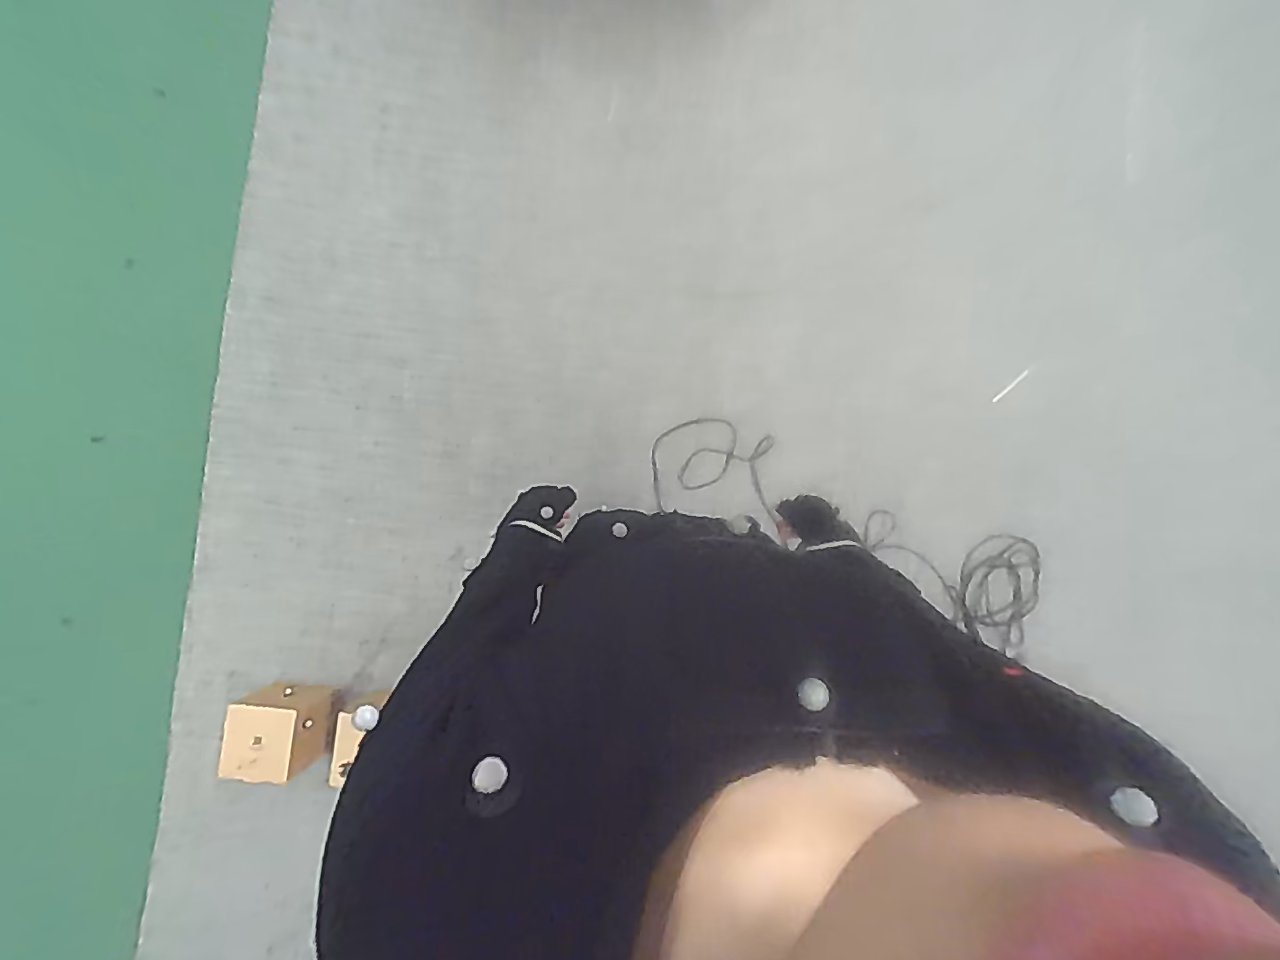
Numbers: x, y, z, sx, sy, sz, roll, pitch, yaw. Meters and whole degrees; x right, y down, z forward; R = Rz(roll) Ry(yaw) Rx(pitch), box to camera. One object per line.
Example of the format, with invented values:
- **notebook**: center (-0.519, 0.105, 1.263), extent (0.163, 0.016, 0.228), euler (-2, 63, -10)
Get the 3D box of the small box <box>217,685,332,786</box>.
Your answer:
- **small box**: center (-0.900, 0.628, 1.350), extent (0.168, 0.176, 0.179), euler (6, 86, 0)
